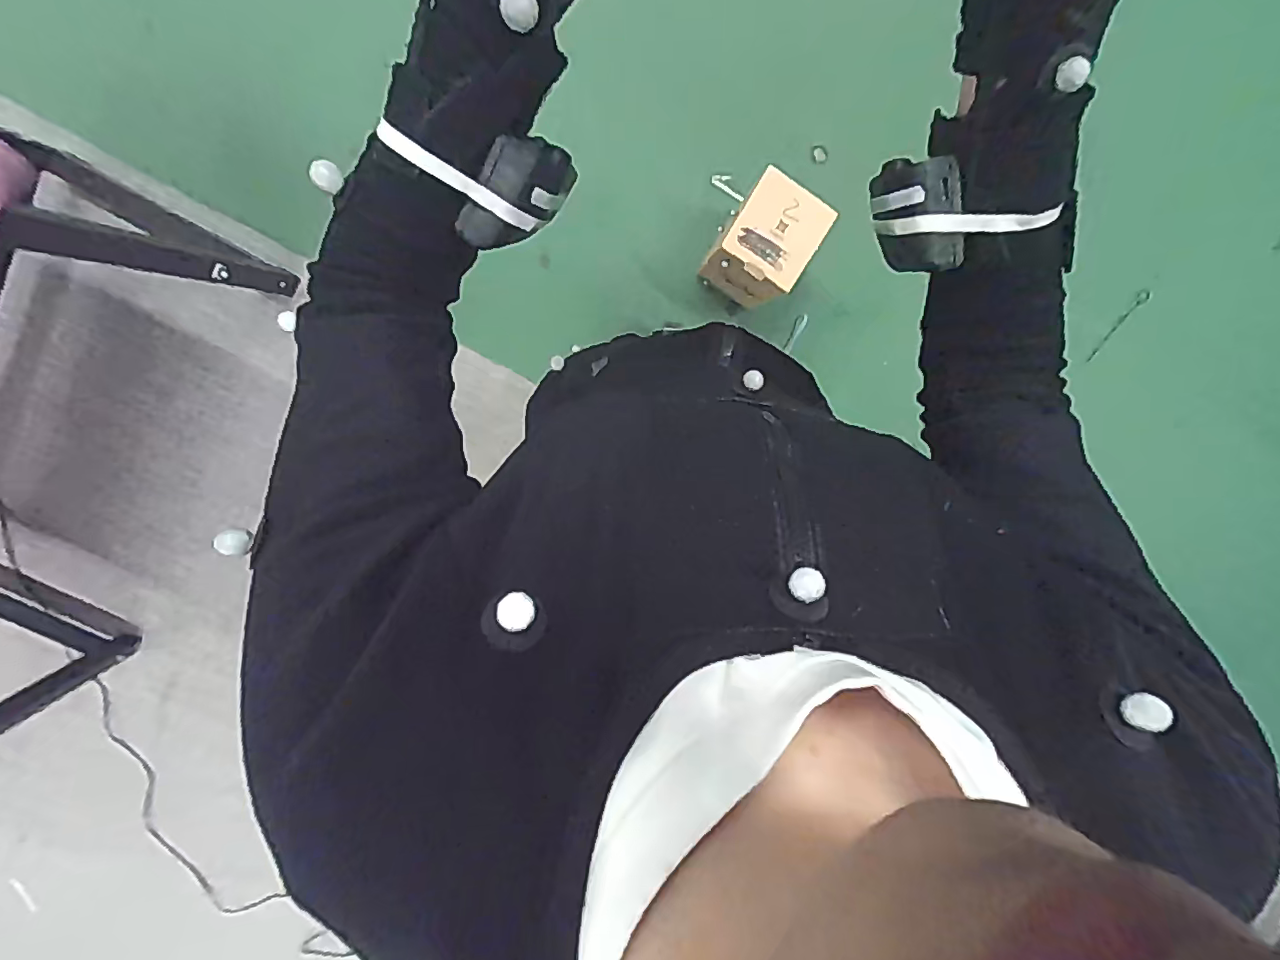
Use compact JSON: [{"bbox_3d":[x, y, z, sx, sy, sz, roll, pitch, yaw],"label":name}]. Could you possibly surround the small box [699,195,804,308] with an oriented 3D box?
[{"bbox_3d":[0.254,-0.531,1.288,0.168,0.176,0.179,31,99,-9],"label":"small box"}]
